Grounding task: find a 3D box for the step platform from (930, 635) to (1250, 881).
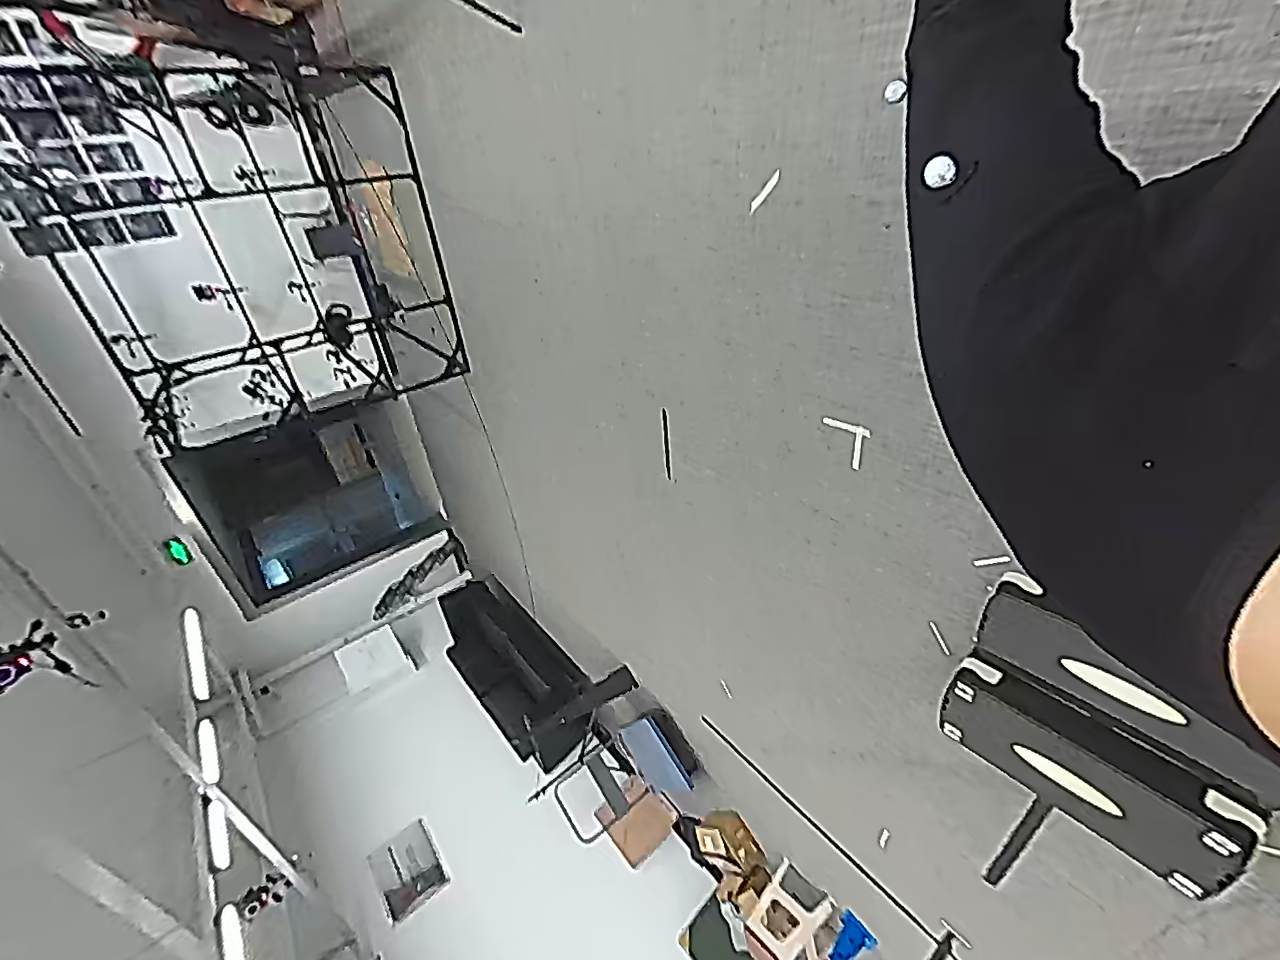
[{"bbox_3d":[1.210,0.756,1.546,0.684,0.204,0.286,30,137,45],"label":"step platform"}]
